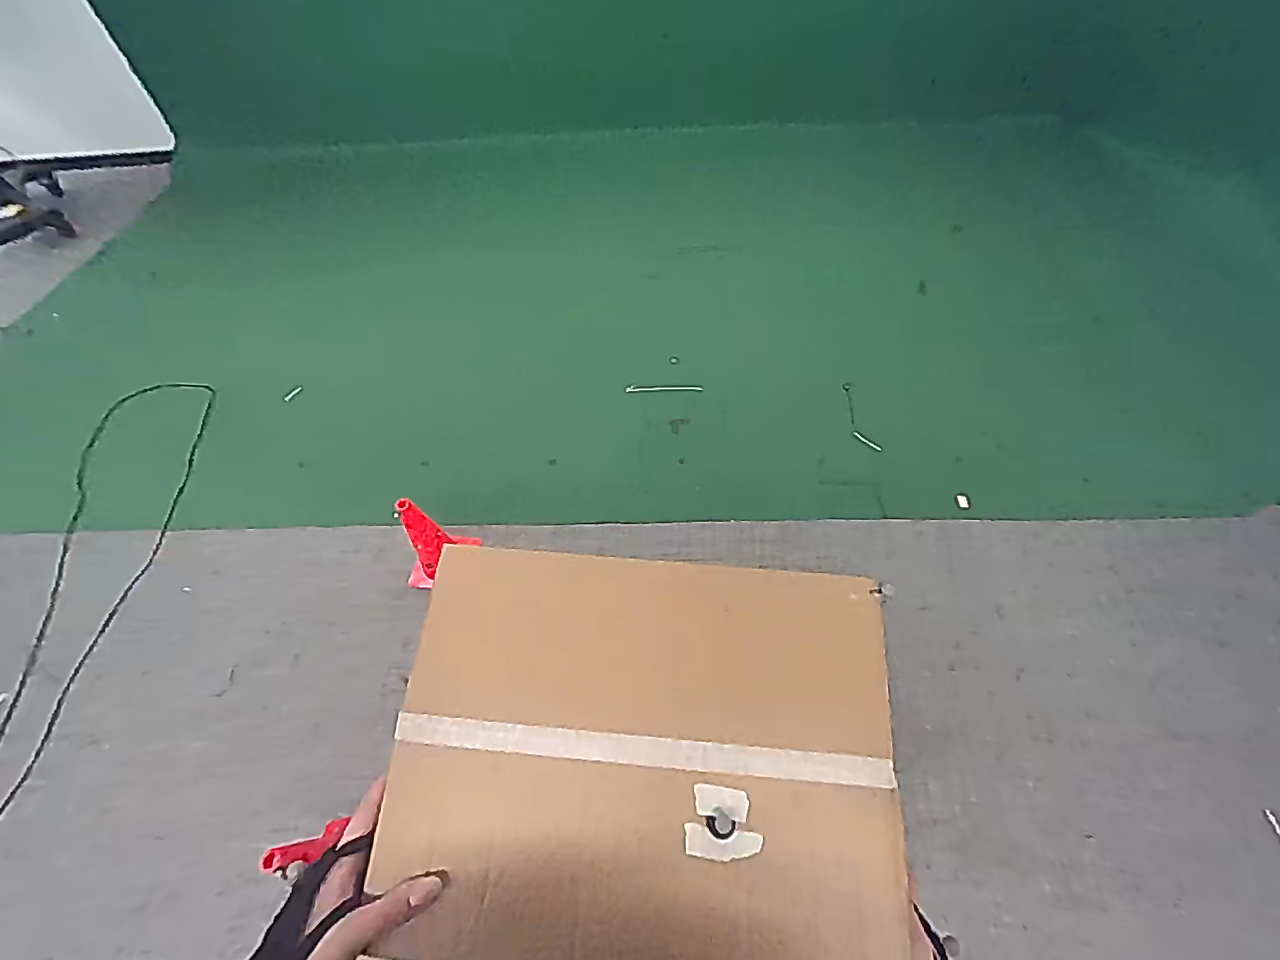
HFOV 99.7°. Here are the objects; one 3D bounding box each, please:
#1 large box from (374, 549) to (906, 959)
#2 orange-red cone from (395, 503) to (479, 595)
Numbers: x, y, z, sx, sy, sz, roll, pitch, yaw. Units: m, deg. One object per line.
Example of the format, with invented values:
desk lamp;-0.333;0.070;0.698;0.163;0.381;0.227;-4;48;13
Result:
large box;0.007;0.277;0.591;0.408;0.320;0.320;4;68;3
orange-red cone;-0.670;0.188;1.676;0.199;0.360;0.198;4;53;9
